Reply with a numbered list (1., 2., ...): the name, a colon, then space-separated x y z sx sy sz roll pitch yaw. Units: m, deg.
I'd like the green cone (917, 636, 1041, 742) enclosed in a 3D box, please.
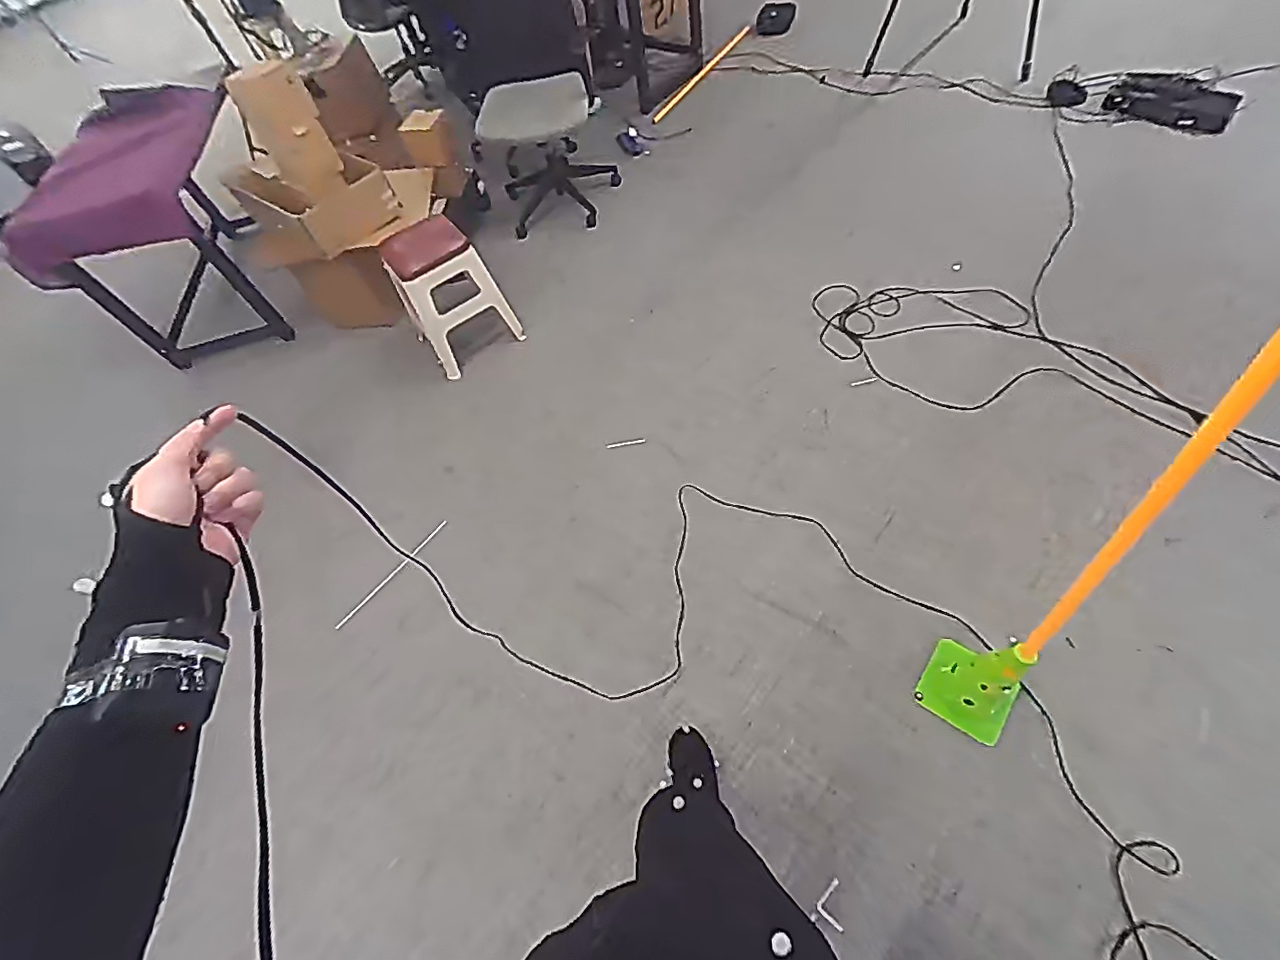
1. green cone: 0.809 0.433 1.228 0.200 0.368 0.202 29 66 25
